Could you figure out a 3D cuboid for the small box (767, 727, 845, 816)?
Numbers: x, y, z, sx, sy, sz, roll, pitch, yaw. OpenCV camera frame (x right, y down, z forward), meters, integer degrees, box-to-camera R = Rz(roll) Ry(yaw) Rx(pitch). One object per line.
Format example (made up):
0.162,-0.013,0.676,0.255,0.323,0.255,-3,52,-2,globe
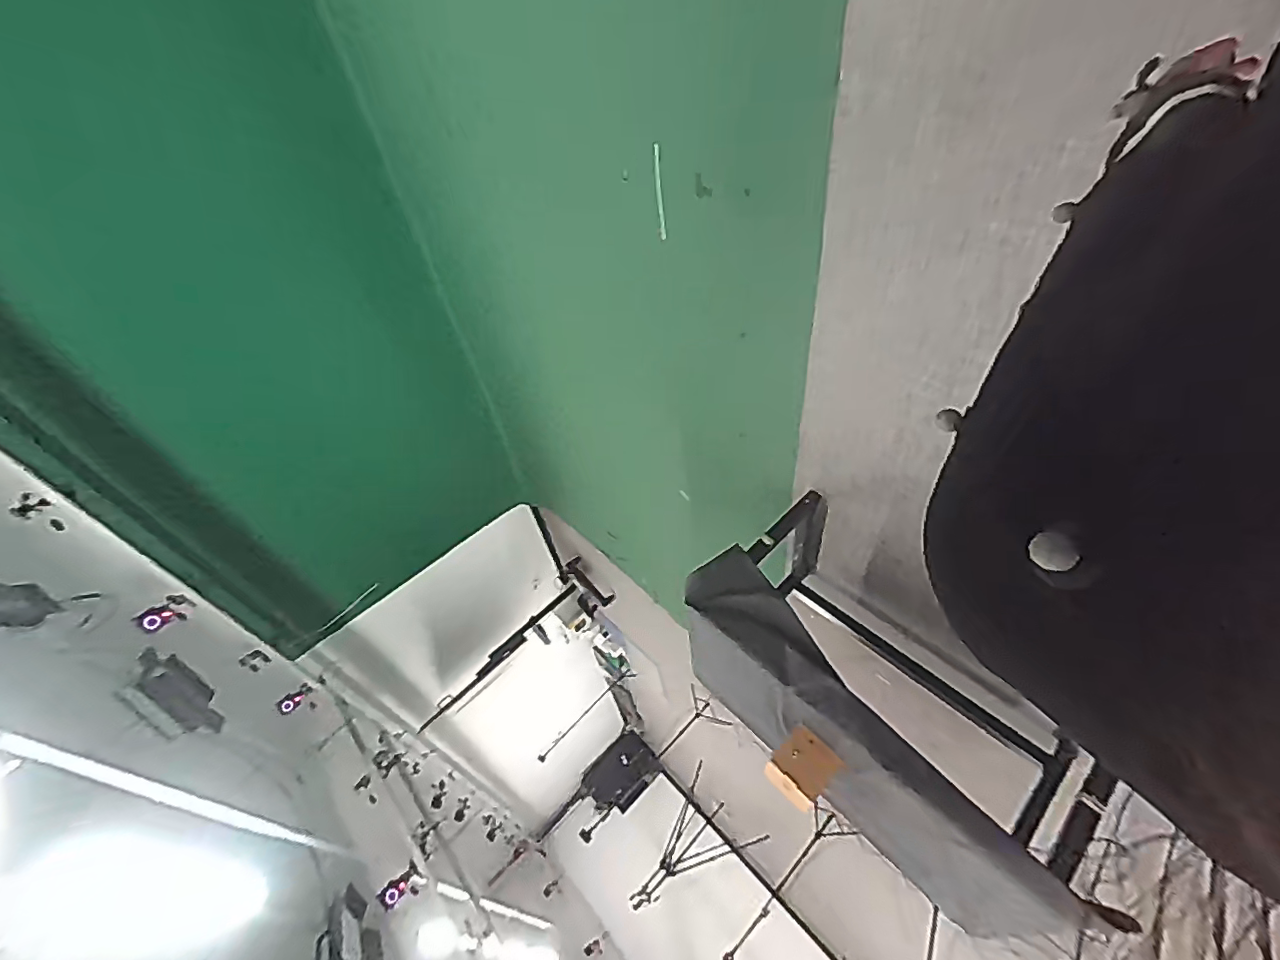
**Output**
0.526,0.920,1.716,0.168,0.176,0.179,39,154,32,small box
